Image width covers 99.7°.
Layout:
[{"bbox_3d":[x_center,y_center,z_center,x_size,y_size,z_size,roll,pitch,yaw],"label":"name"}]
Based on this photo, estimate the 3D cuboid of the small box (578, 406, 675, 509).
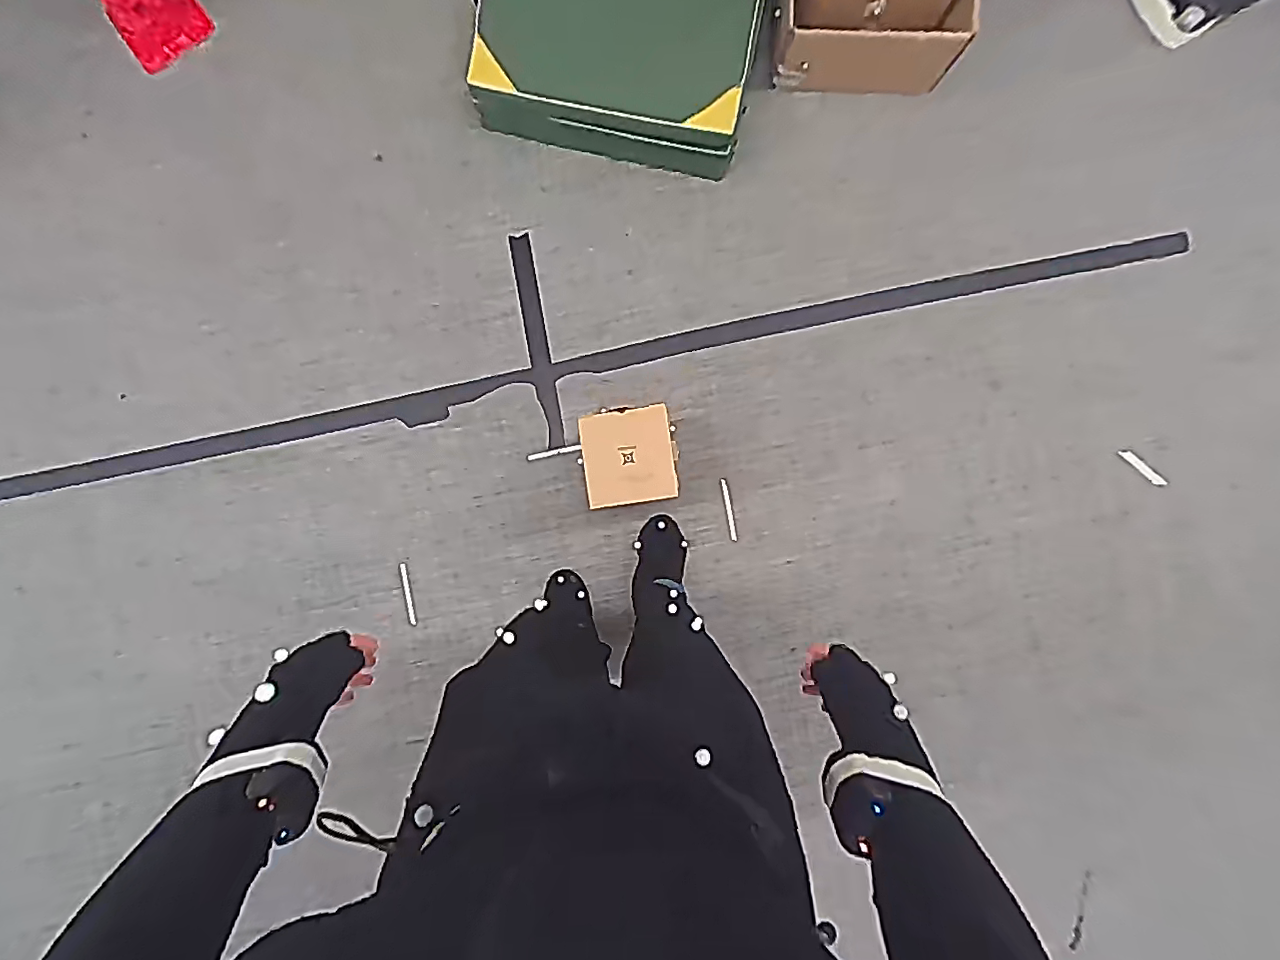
[{"bbox_3d":[-0.026,-0.042,1.073,0.168,0.176,0.179,-7,91,1],"label":"small box"}]
